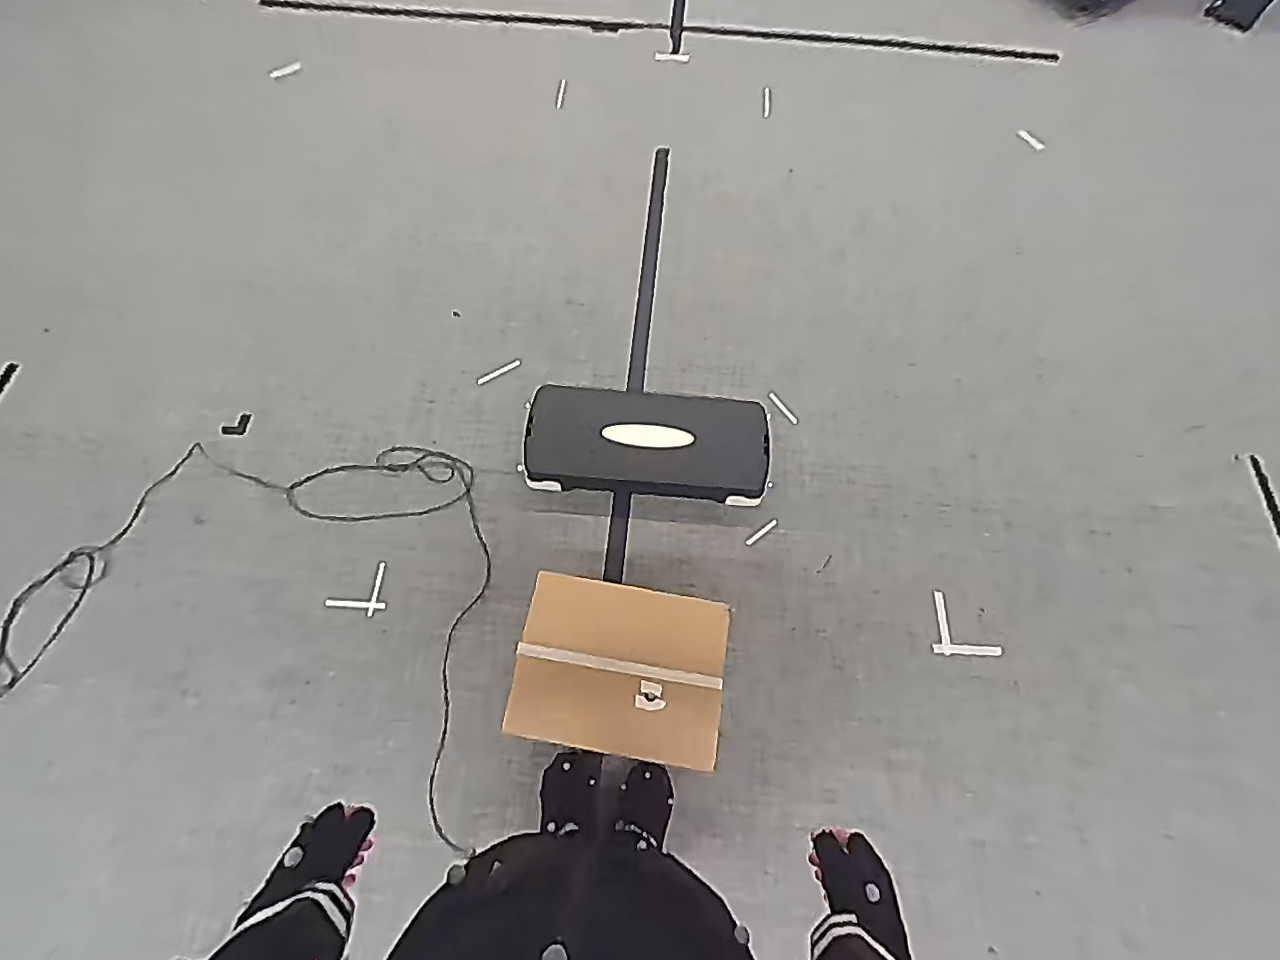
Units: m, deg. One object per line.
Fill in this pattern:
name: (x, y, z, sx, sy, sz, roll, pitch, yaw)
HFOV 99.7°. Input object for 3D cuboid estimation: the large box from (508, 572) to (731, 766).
large box: (-0.038, 0.416, 1.199, 0.408, 0.320, 0.320, 10, 69, 1)
